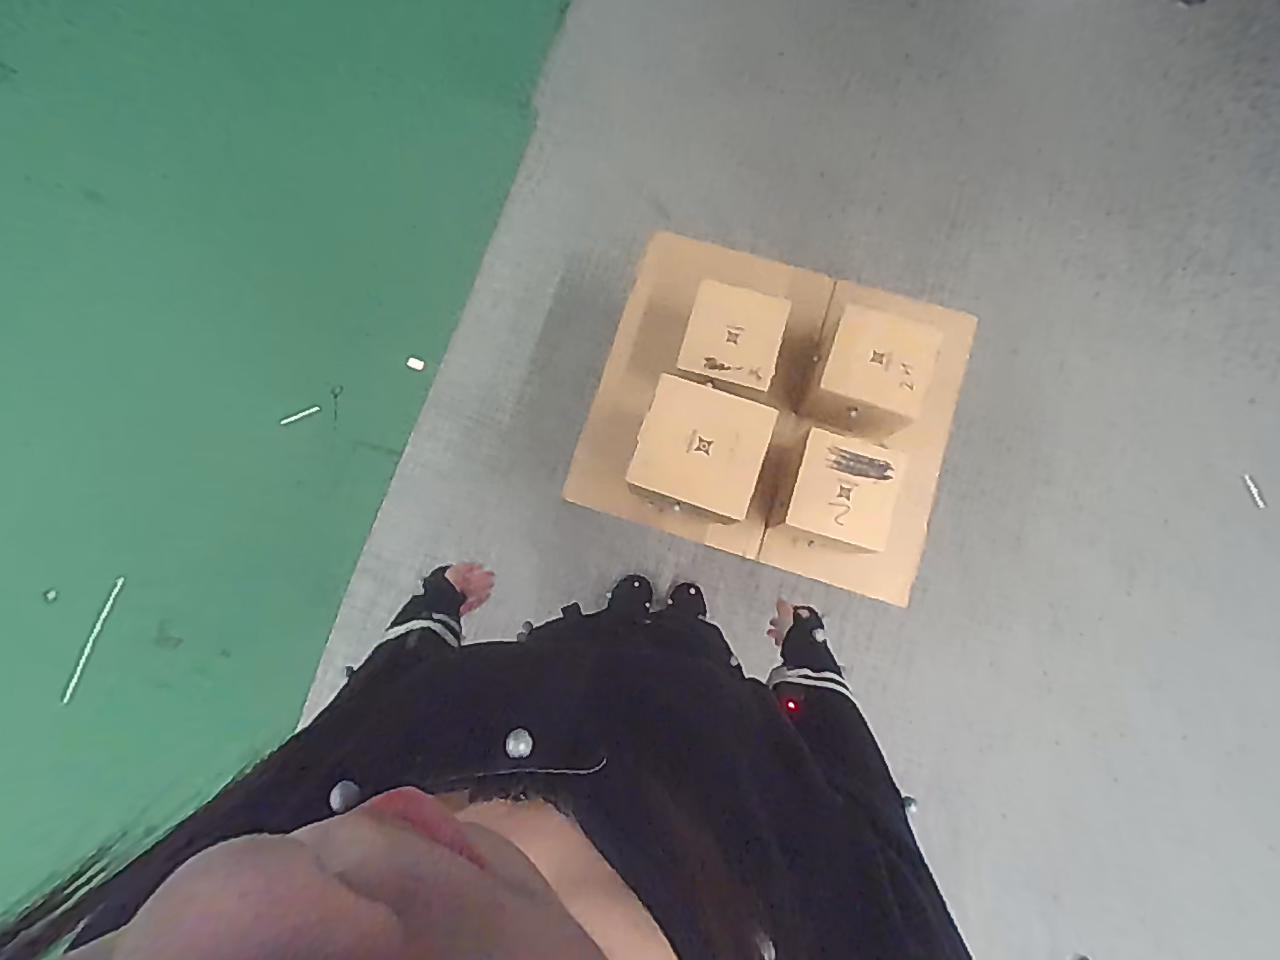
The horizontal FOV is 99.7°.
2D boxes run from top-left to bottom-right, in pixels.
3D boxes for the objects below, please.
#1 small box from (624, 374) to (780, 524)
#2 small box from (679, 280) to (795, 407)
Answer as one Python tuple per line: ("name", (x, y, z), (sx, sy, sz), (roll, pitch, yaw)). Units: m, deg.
("small box", (0.090, -0.035, 0.823), (0.179, 0.176, 0.168), (20, 84, 5))
("small box", (0.172, -0.237, 1.013), (0.168, 0.176, 0.179), (16, 82, 6))
